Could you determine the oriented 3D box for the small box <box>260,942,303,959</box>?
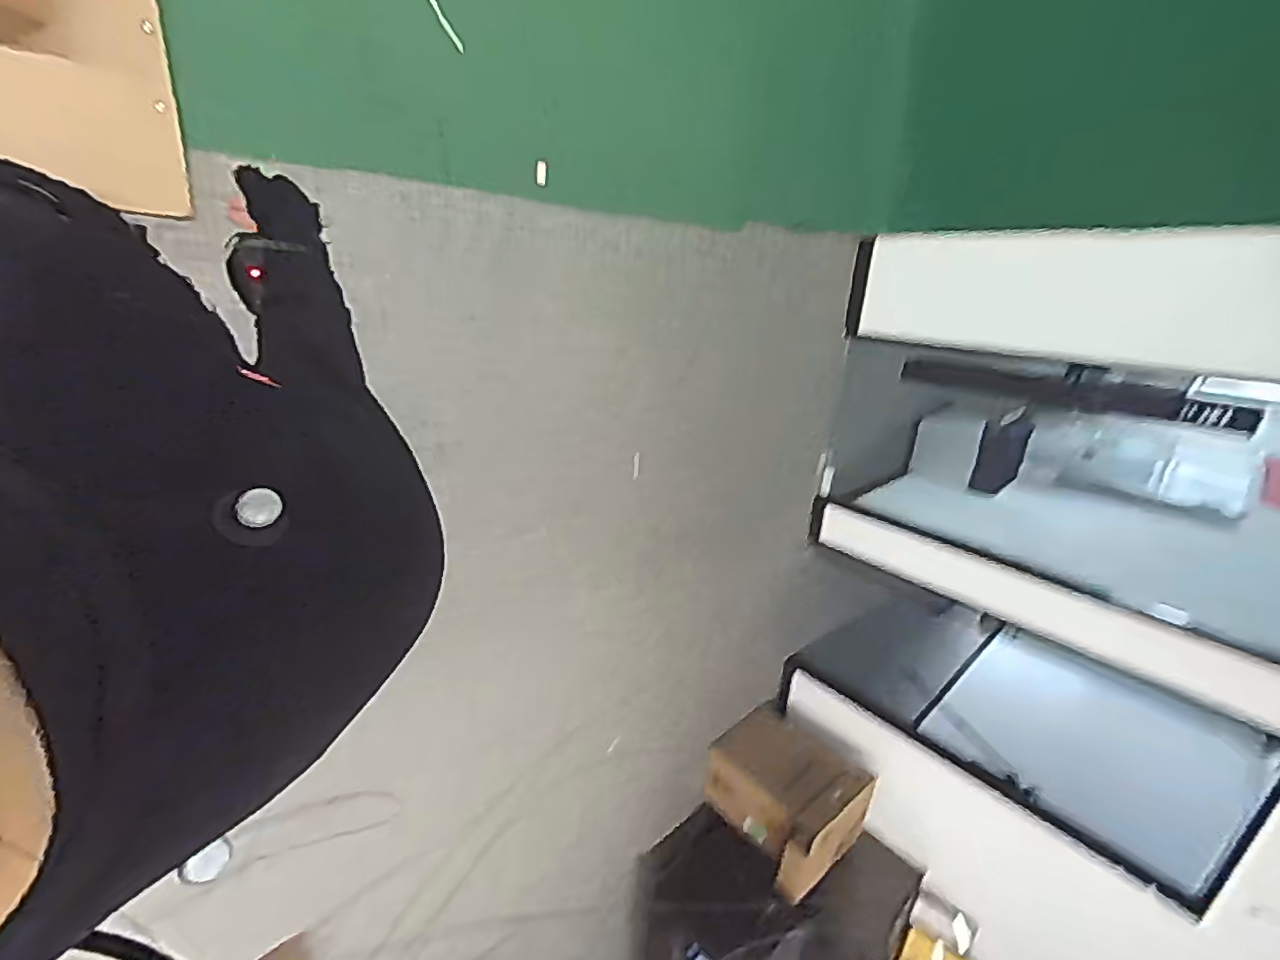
[{"bbox_3d":[-1.117,1.585,1.658,0.168,0.176,0.179,-21,121,-38],"label":"small box"}]
